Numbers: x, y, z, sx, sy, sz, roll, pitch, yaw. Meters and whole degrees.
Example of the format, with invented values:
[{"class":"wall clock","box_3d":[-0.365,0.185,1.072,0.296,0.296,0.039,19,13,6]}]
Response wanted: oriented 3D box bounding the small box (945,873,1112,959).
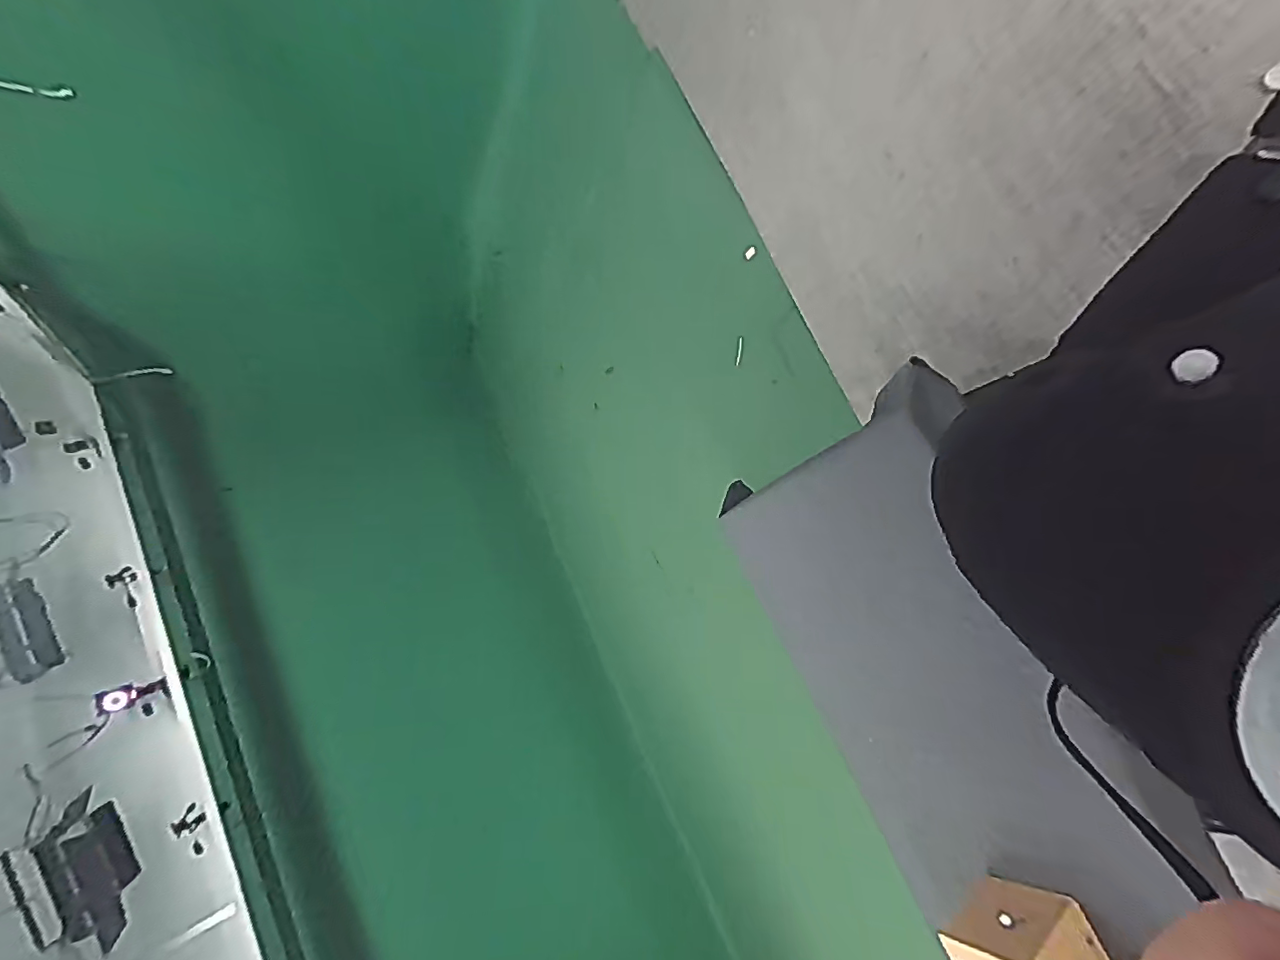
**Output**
[{"class":"small box","box_3d":[0.689,0.833,0.943,0.168,0.176,0.179,64,149,12]}]
